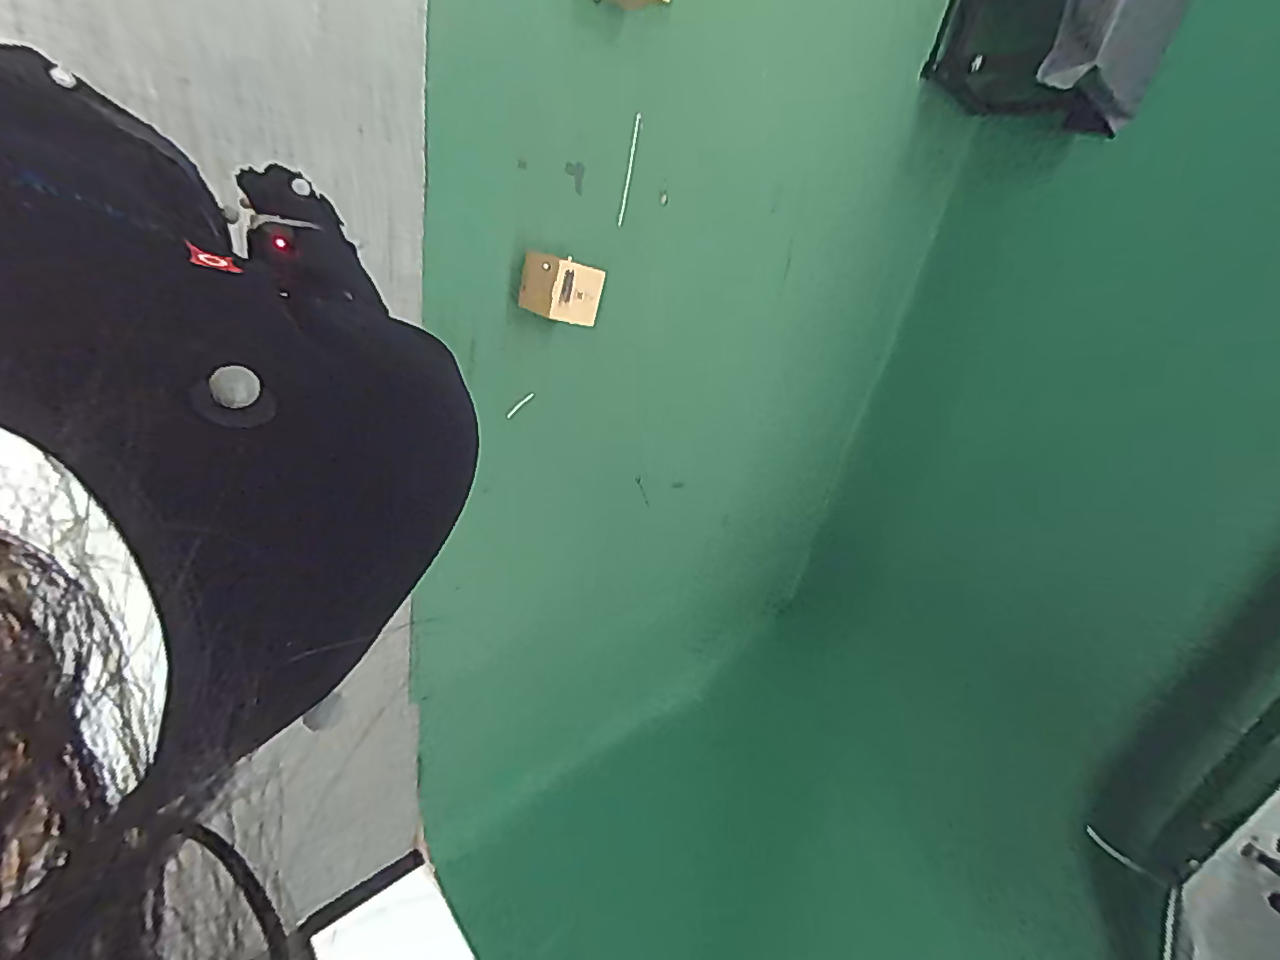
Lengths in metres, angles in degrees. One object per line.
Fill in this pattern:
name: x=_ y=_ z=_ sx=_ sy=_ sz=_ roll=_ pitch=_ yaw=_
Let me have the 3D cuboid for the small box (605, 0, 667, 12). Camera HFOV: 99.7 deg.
small box: x=-0.032 y=-1.316 z=1.356 sx=0.168 sy=0.176 sz=0.179 roll=-15 pitch=124 yaw=-42
